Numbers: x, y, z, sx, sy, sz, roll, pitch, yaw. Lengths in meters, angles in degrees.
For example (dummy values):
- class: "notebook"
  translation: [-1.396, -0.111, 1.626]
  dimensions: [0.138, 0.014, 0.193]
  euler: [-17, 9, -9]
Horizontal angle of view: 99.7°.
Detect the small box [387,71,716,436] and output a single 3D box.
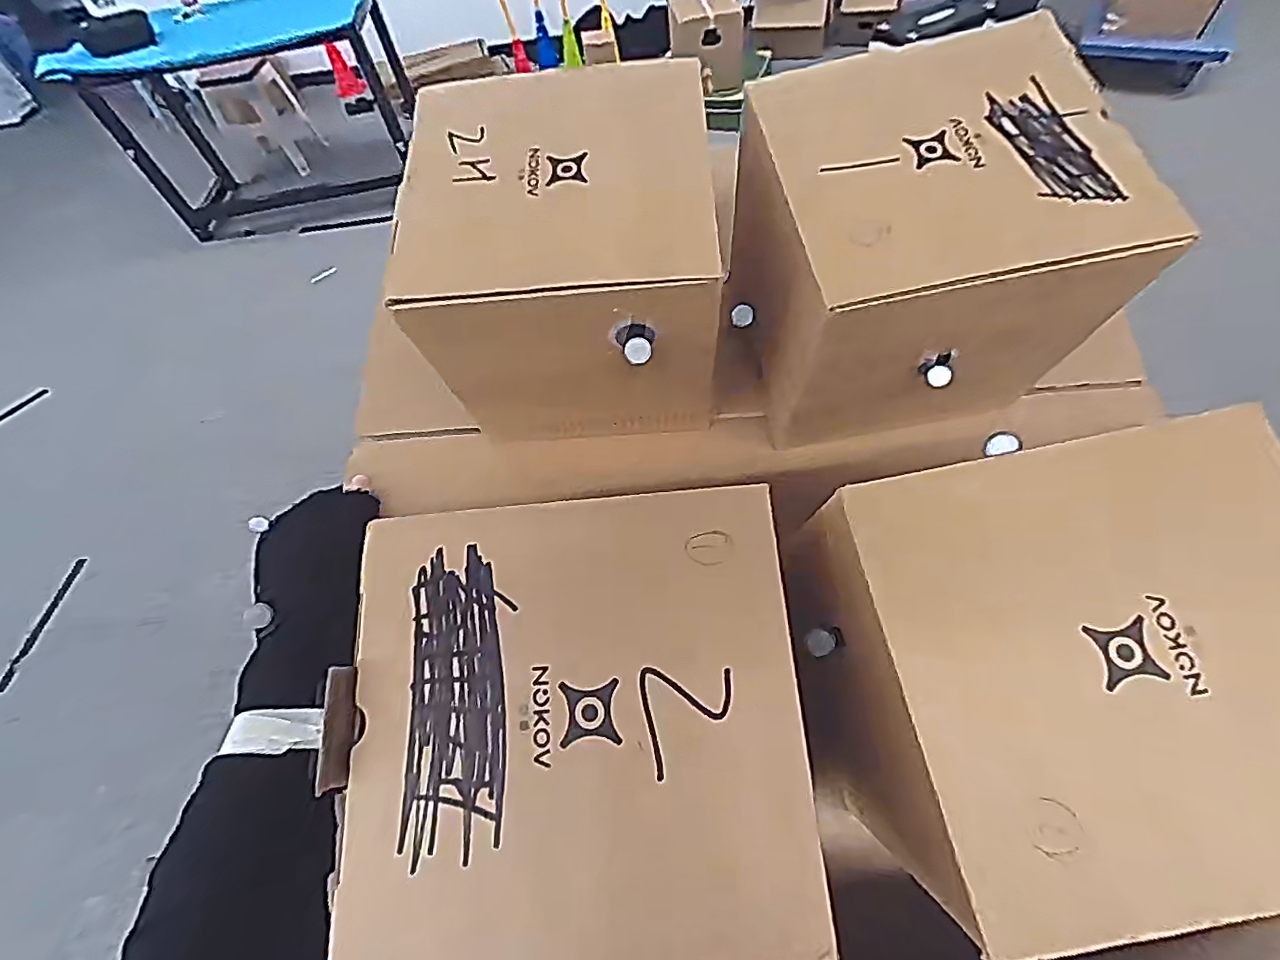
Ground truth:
- class: "small box"
  translation: [-0.043, -0.141, 0.383]
  dimensions: [0.179, 0.176, 0.168]
  euler: [-3, 68, 5]
